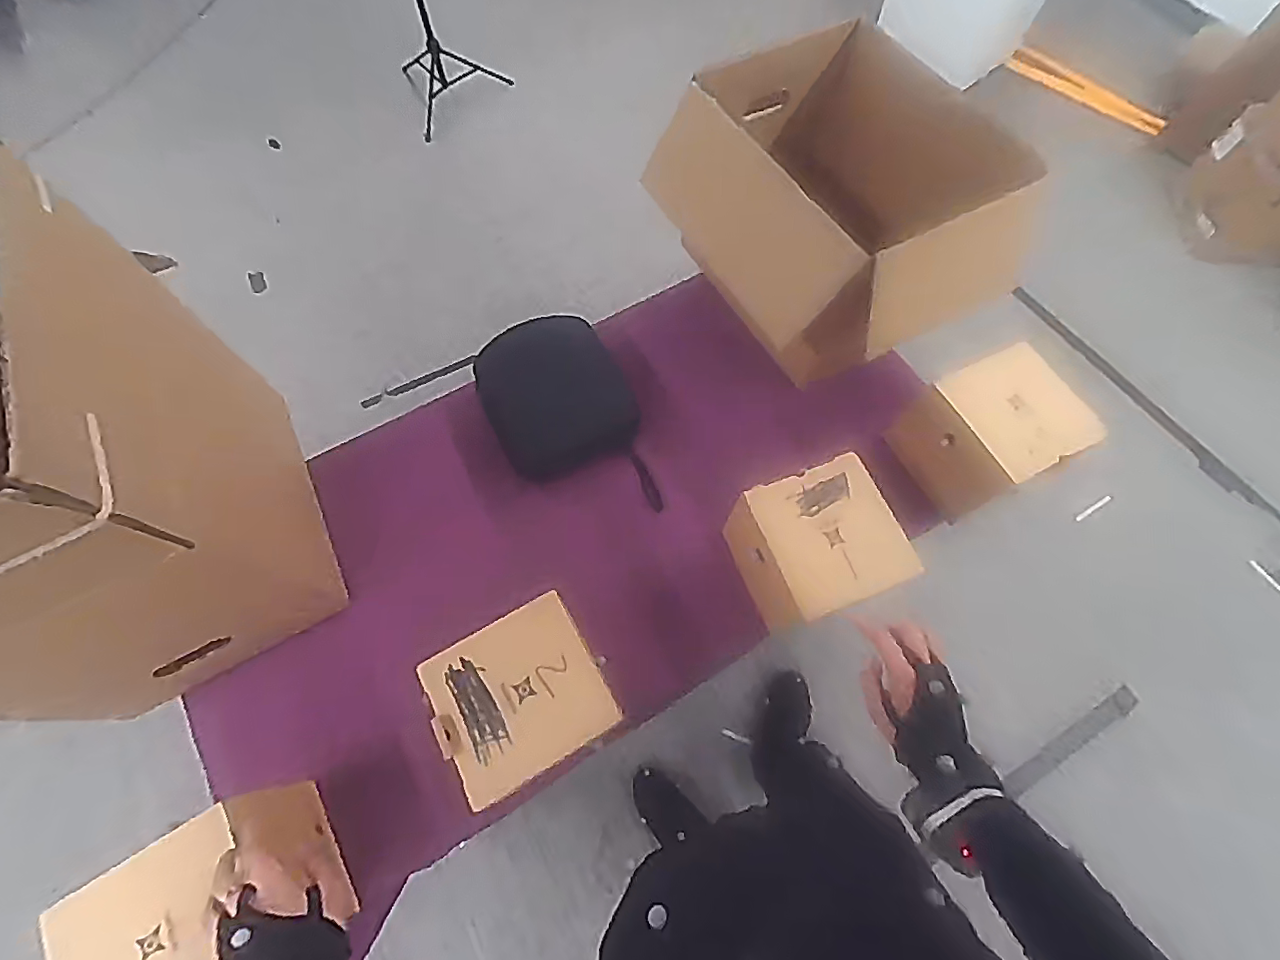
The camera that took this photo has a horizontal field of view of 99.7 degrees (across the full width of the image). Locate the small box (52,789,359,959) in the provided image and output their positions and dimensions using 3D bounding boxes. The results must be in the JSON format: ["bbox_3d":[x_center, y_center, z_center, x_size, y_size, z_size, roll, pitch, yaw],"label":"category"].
[{"bbox_3d":[-0.445,0.465,0.580,0.179,0.176,0.168,-31,70,-14],"label":"small box"}]

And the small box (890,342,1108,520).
[{"bbox_3d":[0.513,-0.067,0.807,0.168,0.176,0.179,-24,69,-9],"label":"small box"}]
